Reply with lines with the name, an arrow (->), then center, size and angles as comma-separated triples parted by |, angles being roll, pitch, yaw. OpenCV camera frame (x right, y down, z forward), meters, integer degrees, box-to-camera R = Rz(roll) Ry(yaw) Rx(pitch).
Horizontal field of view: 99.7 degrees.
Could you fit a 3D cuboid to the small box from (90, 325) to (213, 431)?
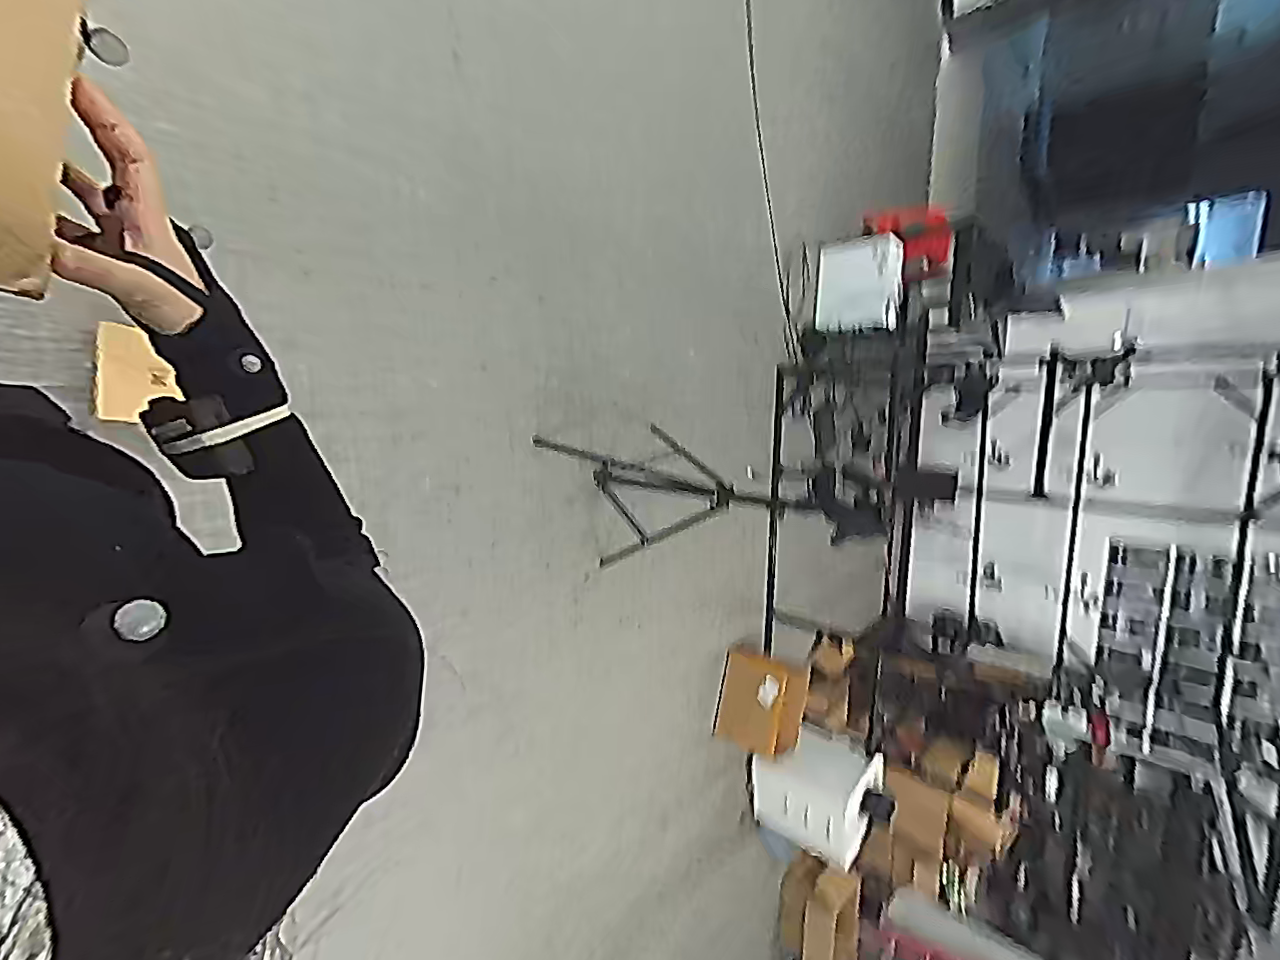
small box -> -0.967, -0.193, 1.070 | 0.168, 0.176, 0.179 | 2, 94, -47
